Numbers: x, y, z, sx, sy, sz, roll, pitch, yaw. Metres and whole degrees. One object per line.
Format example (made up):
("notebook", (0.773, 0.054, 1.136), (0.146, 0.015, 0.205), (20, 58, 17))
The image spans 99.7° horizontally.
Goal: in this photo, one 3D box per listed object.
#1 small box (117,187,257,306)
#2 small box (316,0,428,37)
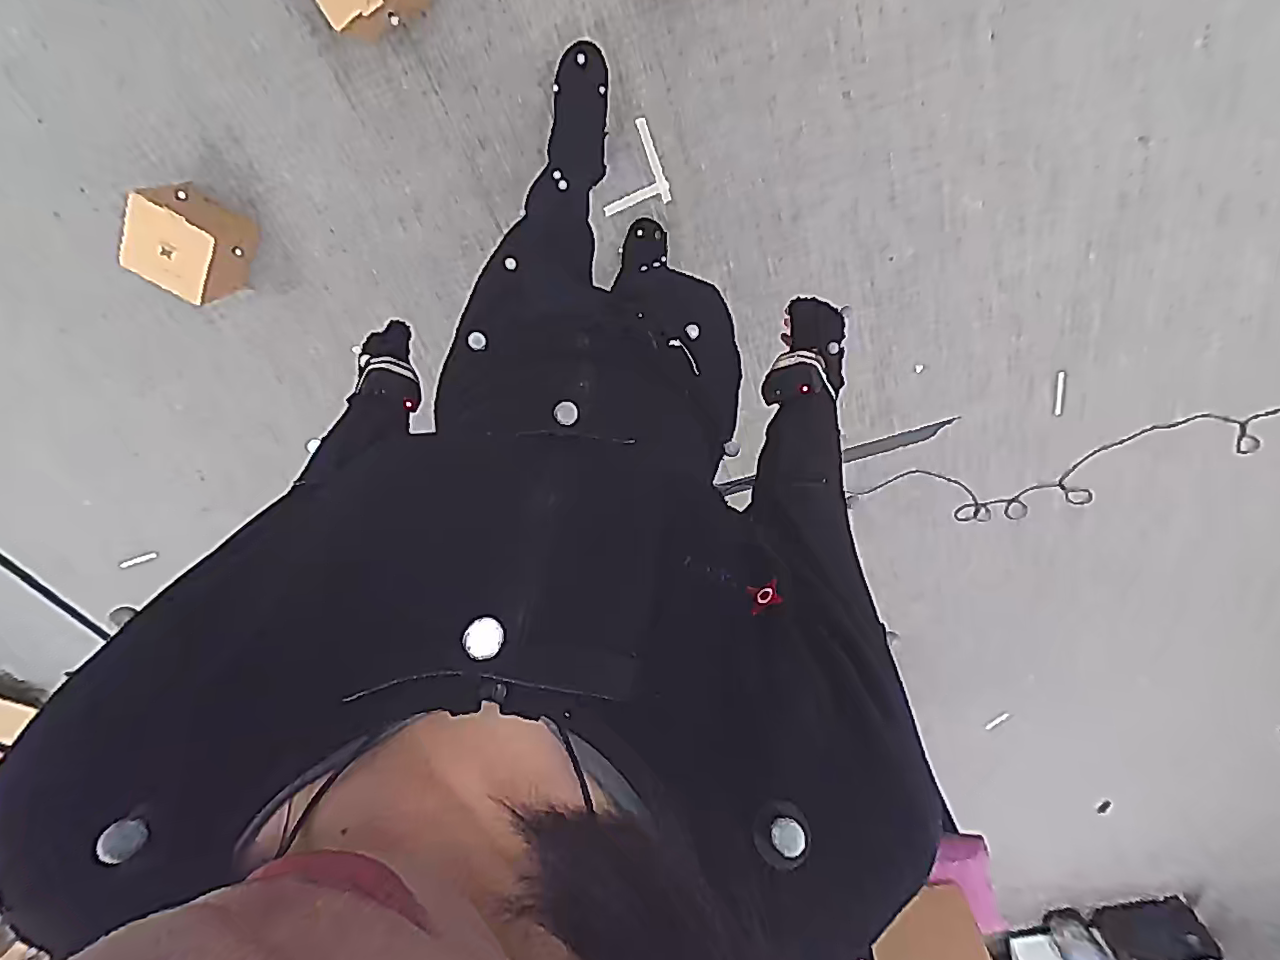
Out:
("small box", (-1.001, -0.526, 1.207), (0.168, 0.176, 0.179), (29, 119, -17))
("small box", (-0.501, -0.924, 0.956), (0.168, 0.176, 0.179), (-24, 121, 14))
